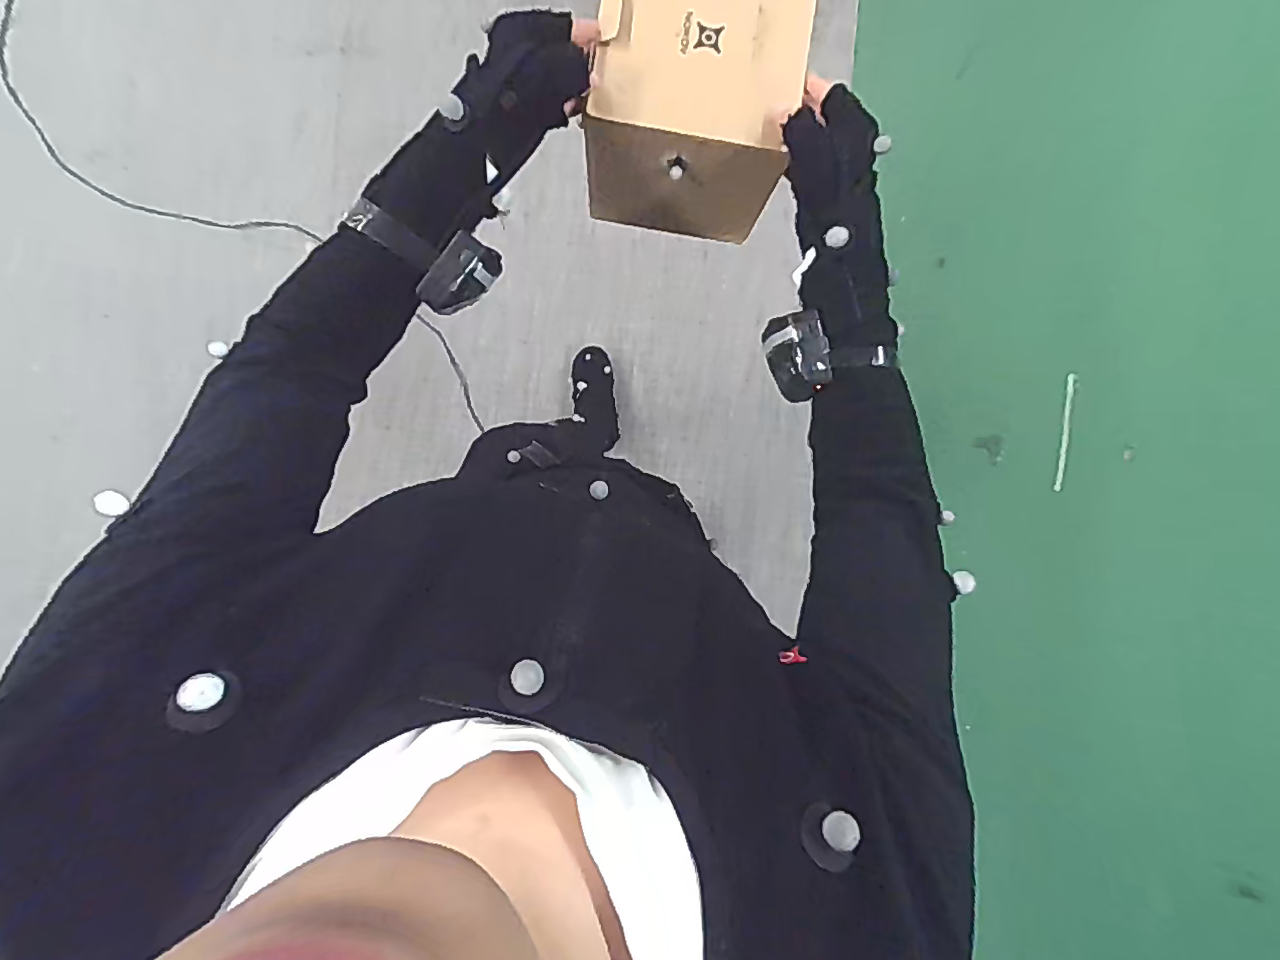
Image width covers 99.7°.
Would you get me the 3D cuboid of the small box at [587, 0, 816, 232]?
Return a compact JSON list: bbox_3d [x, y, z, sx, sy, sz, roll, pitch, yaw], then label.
[{"bbox_3d":[0.048,-0.364,0.519,0.179,0.176,0.168,8,89,-5],"label":"small box"}]
